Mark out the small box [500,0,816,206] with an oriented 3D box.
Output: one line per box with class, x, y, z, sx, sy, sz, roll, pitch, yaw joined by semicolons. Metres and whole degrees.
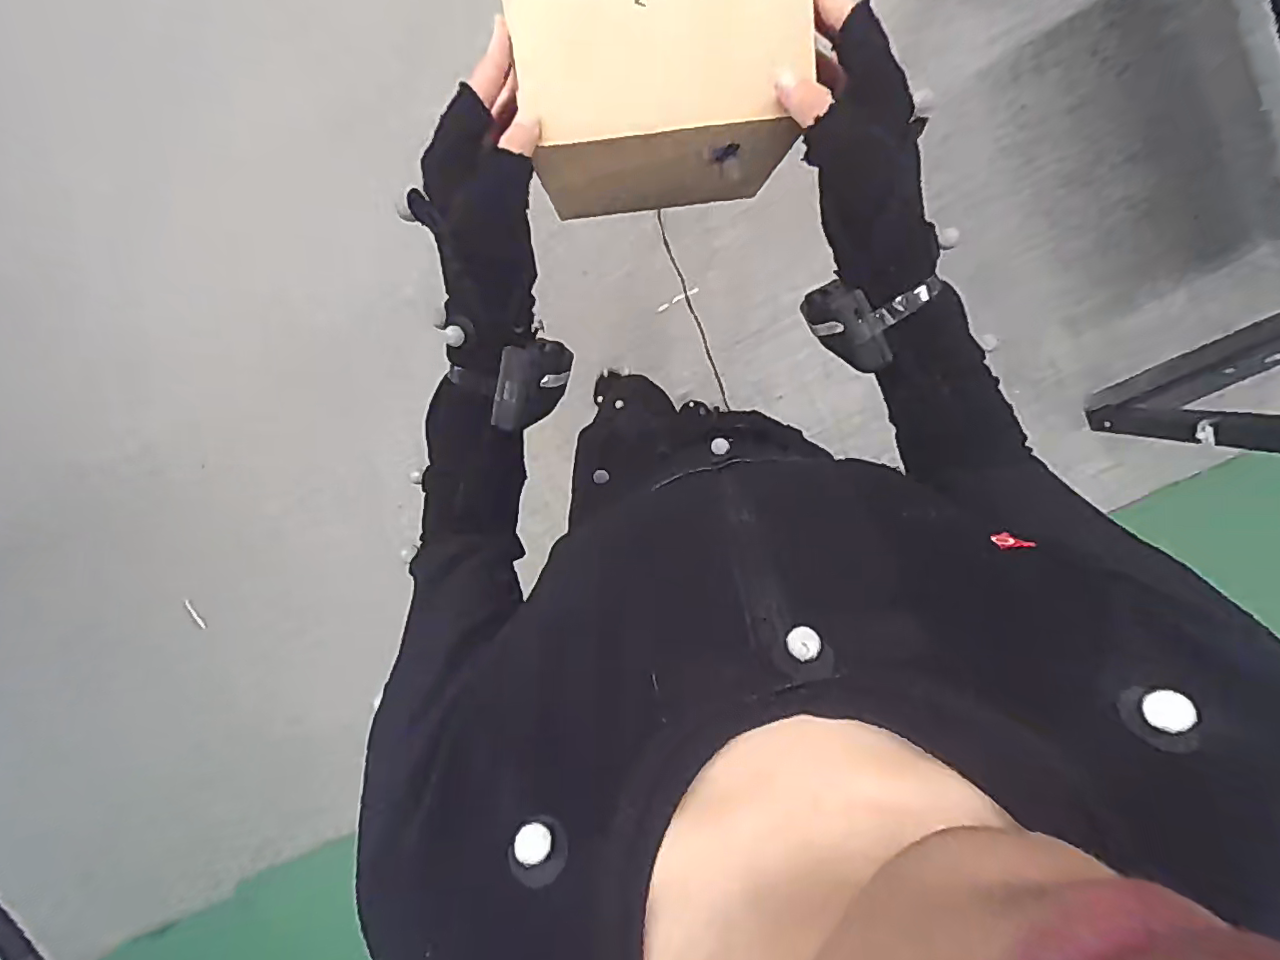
small box;0.007;-0.305;0.372;0.179;0.176;0.168;-6;102;1
